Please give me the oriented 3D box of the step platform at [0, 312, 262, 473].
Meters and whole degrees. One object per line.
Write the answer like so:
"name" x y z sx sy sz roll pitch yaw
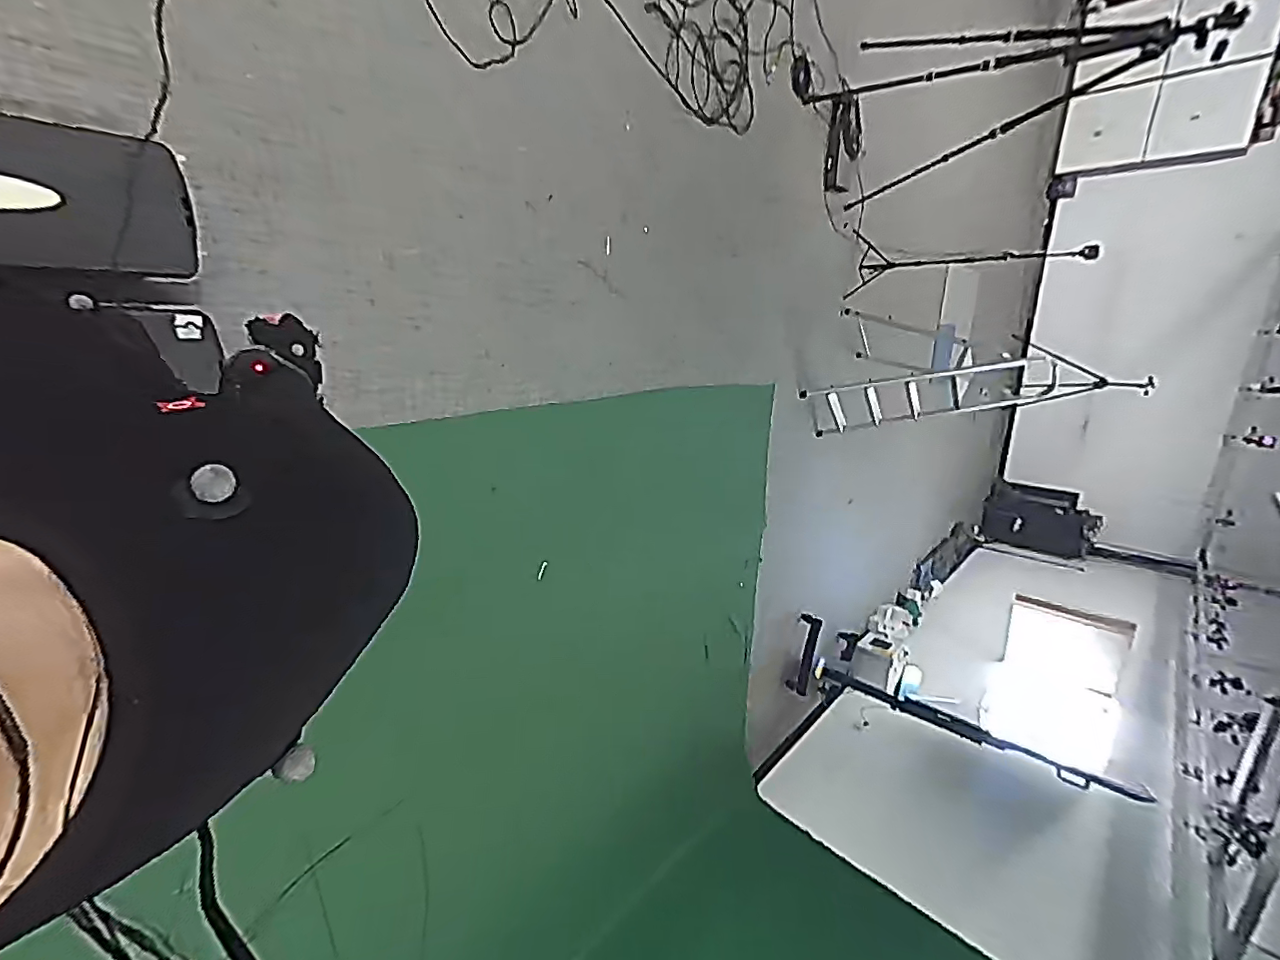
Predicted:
"step platform" -1.081 -0.142 0.924 0.684 0.204 0.286 -16 113 -45
